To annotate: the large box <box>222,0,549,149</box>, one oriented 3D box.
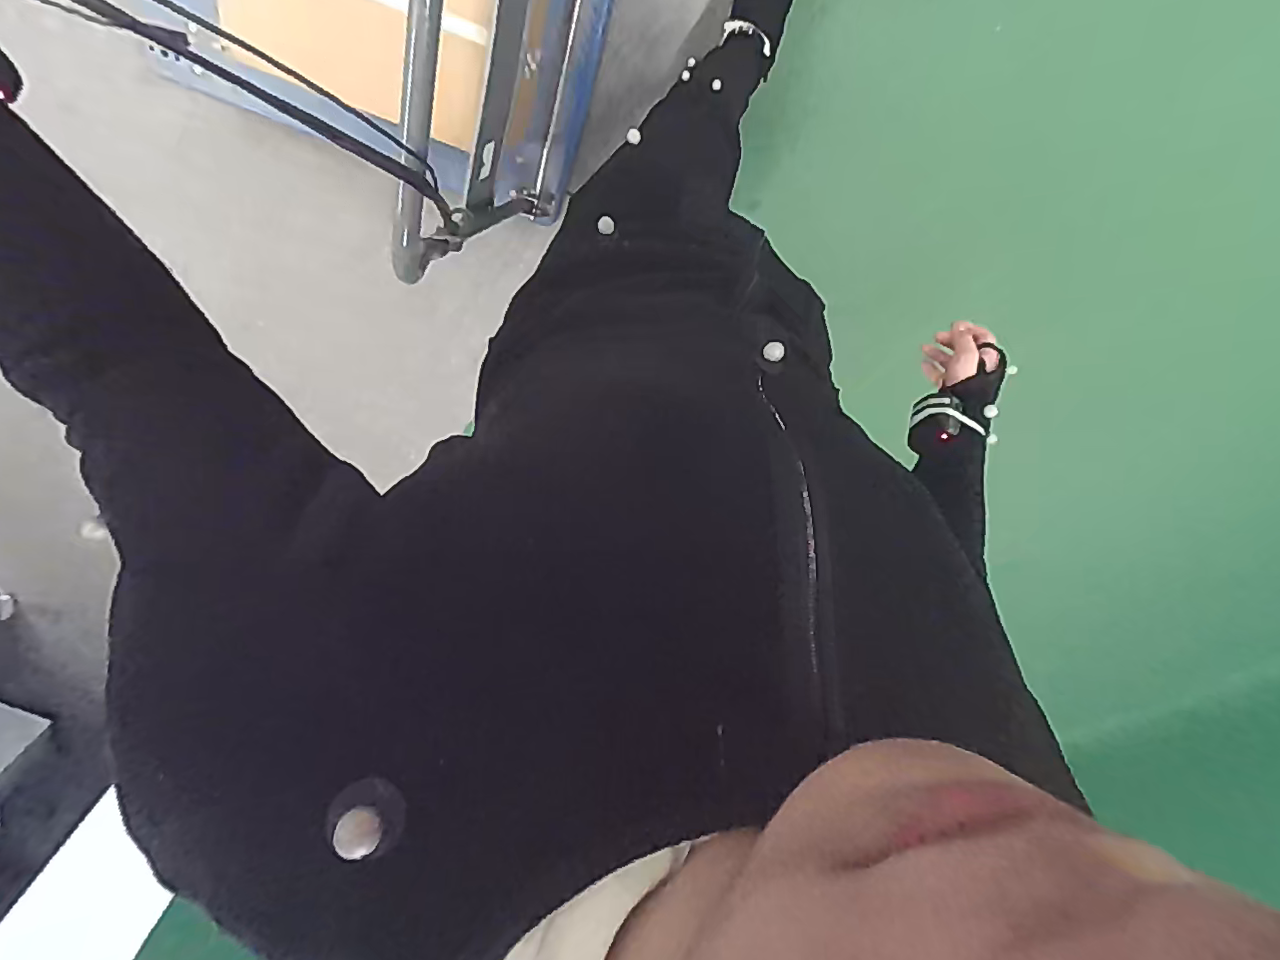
[{"bbox_3d":[-0.386,-0.798,0.888,0.408,0.320,0.320,18,126,-7],"label":"large box"}]
